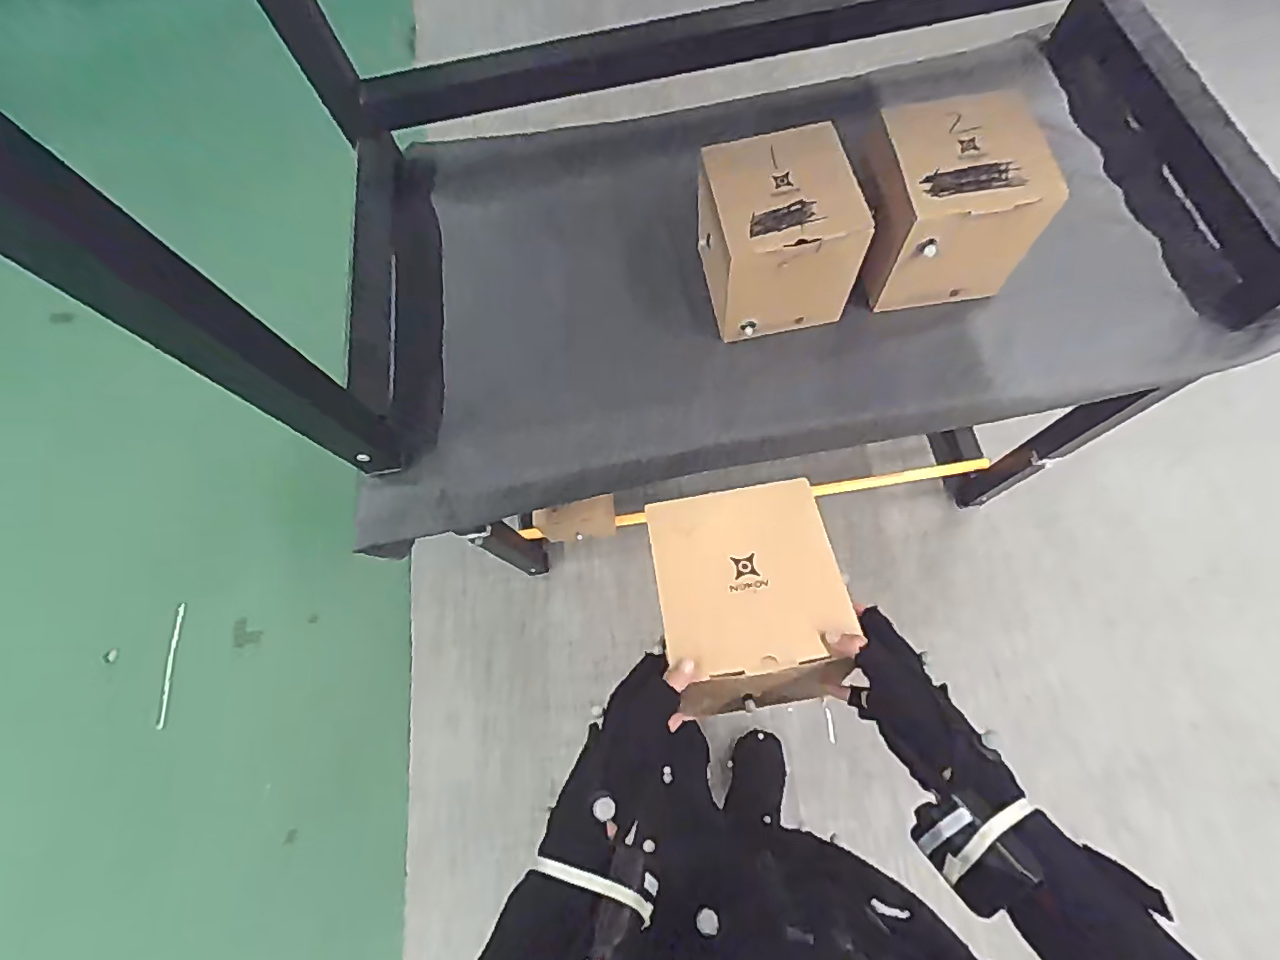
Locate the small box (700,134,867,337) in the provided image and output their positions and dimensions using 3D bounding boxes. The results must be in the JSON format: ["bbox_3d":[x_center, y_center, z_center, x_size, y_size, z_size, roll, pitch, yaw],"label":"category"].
[{"bbox_3d":[0.177,-0.311,0.723,0.168,0.176,0.179,-10,69,2],"label":"small box"}]
